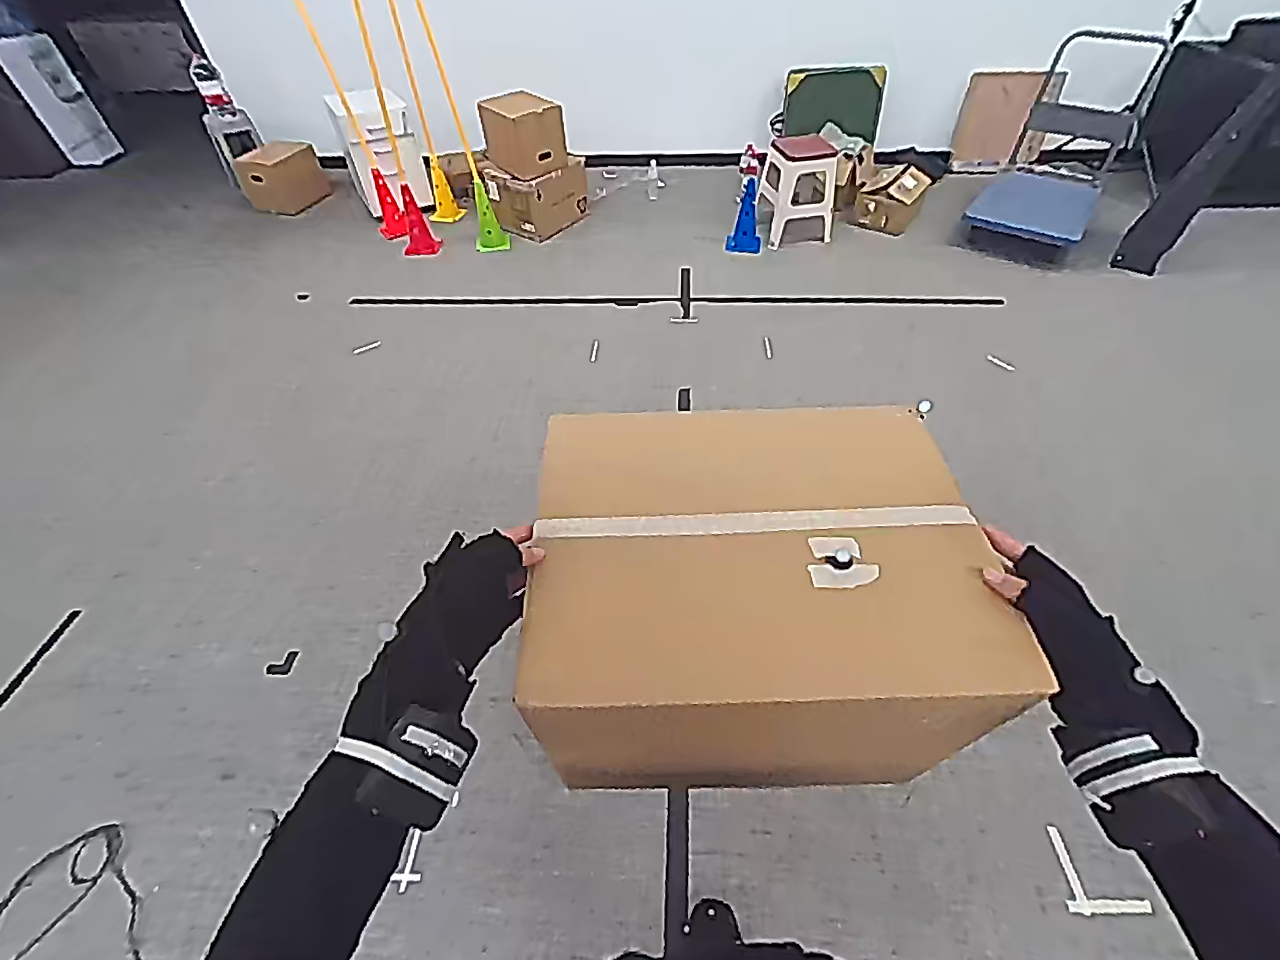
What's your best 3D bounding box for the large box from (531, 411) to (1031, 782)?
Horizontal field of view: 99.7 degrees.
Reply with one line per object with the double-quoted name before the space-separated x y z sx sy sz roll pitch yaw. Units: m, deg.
"large box" 0.107 0.141 0.629 0.408 0.320 0.320 -2 51 0
